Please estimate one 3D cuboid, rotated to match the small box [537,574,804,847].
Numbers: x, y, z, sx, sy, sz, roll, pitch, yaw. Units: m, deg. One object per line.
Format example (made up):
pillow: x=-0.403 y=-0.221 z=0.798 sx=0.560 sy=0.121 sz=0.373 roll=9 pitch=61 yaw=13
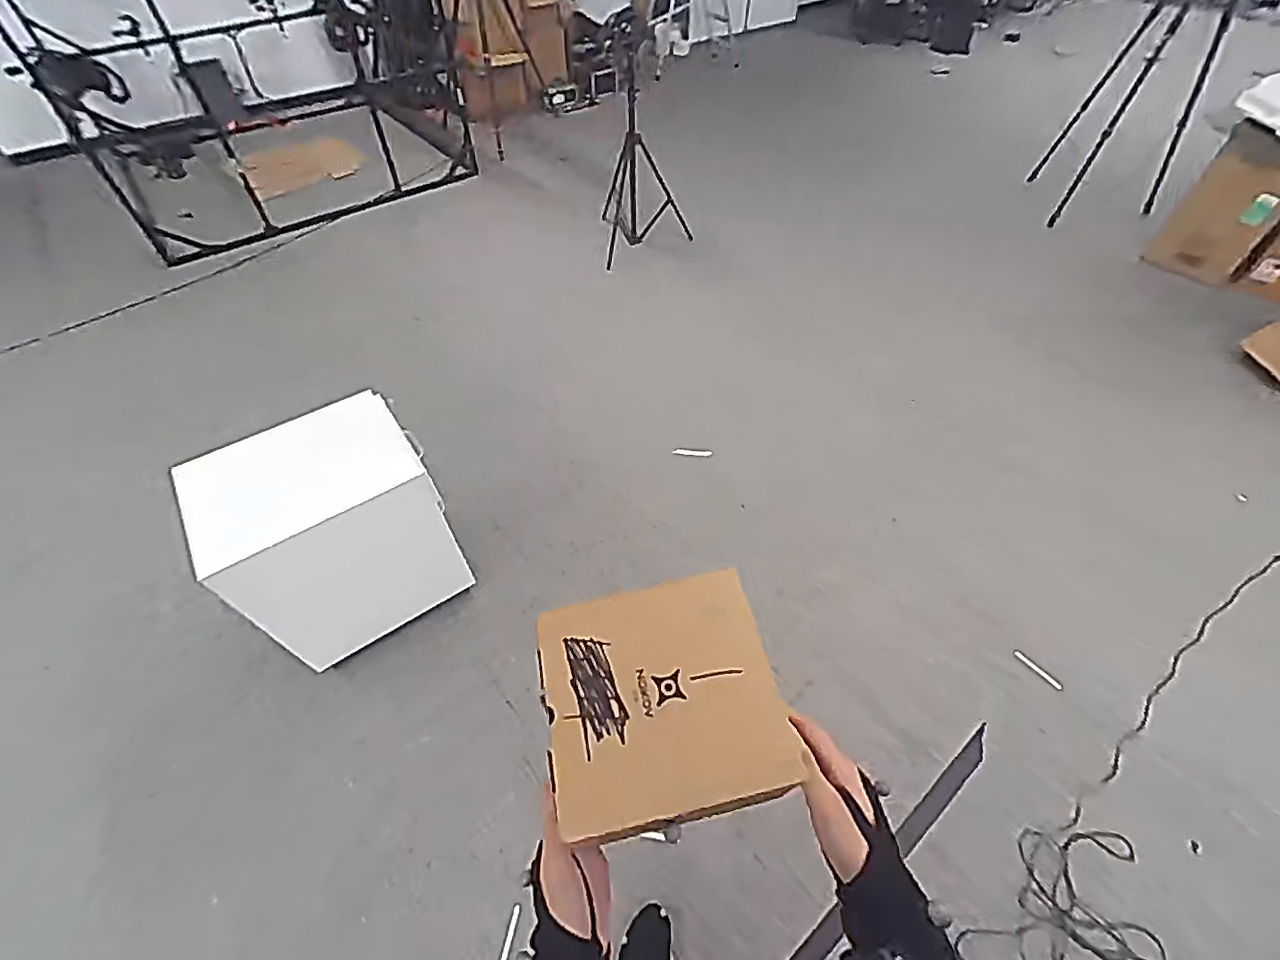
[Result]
small box: x=0.021 y=0.208 z=0.475 sx=0.179 sy=0.176 sz=0.168 roll=-13 pitch=56 yaw=-4
